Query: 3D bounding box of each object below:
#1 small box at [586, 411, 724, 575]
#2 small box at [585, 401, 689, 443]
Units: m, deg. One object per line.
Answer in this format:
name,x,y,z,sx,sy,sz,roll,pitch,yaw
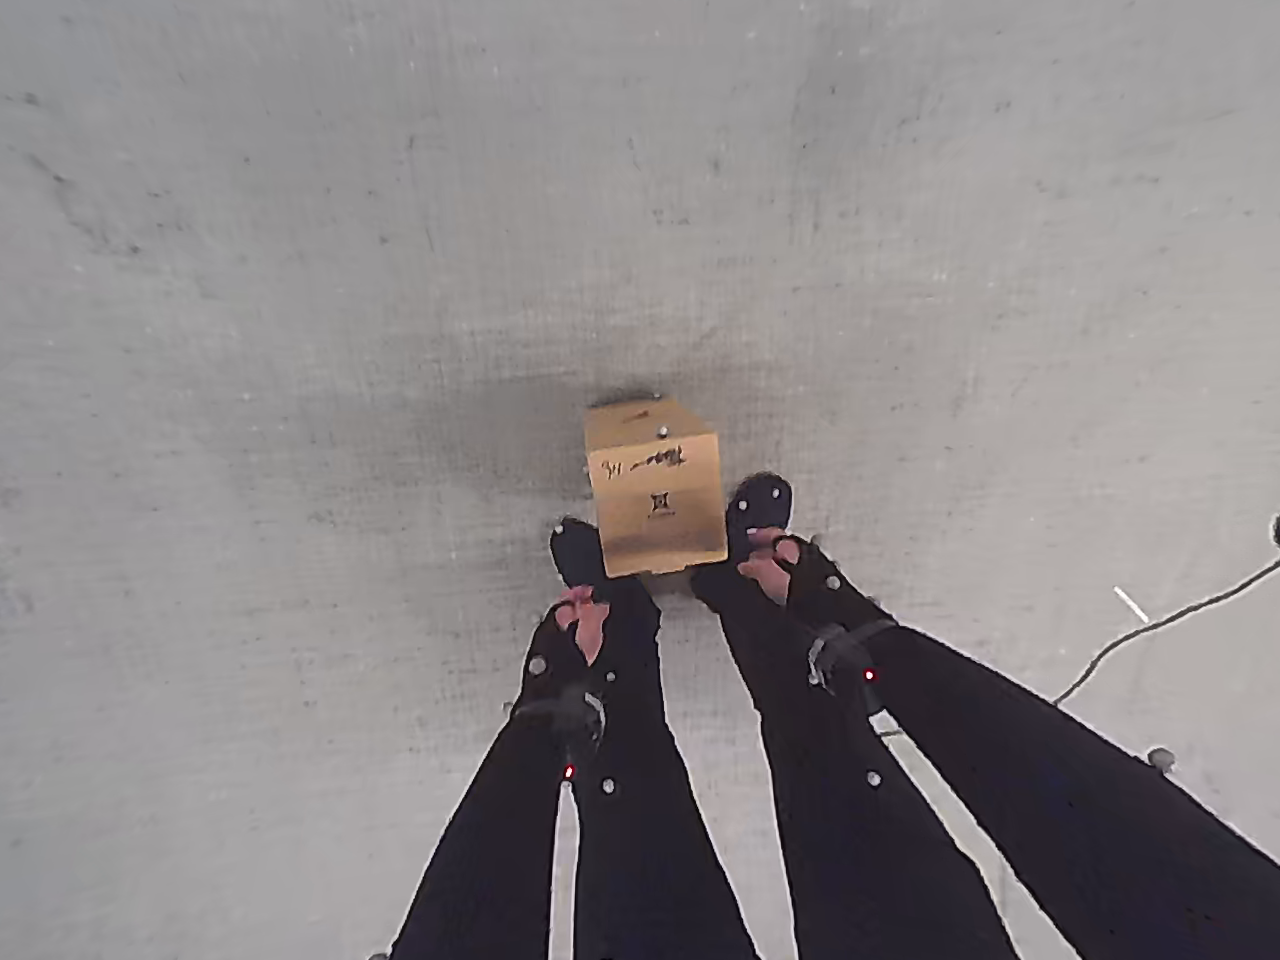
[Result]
small box,0.019,0.011,0.773,0.168,0.176,0.179,-9,108,-2
small box,-0.002,-0.035,0.927,0.168,0.176,0.179,-10,108,-2
